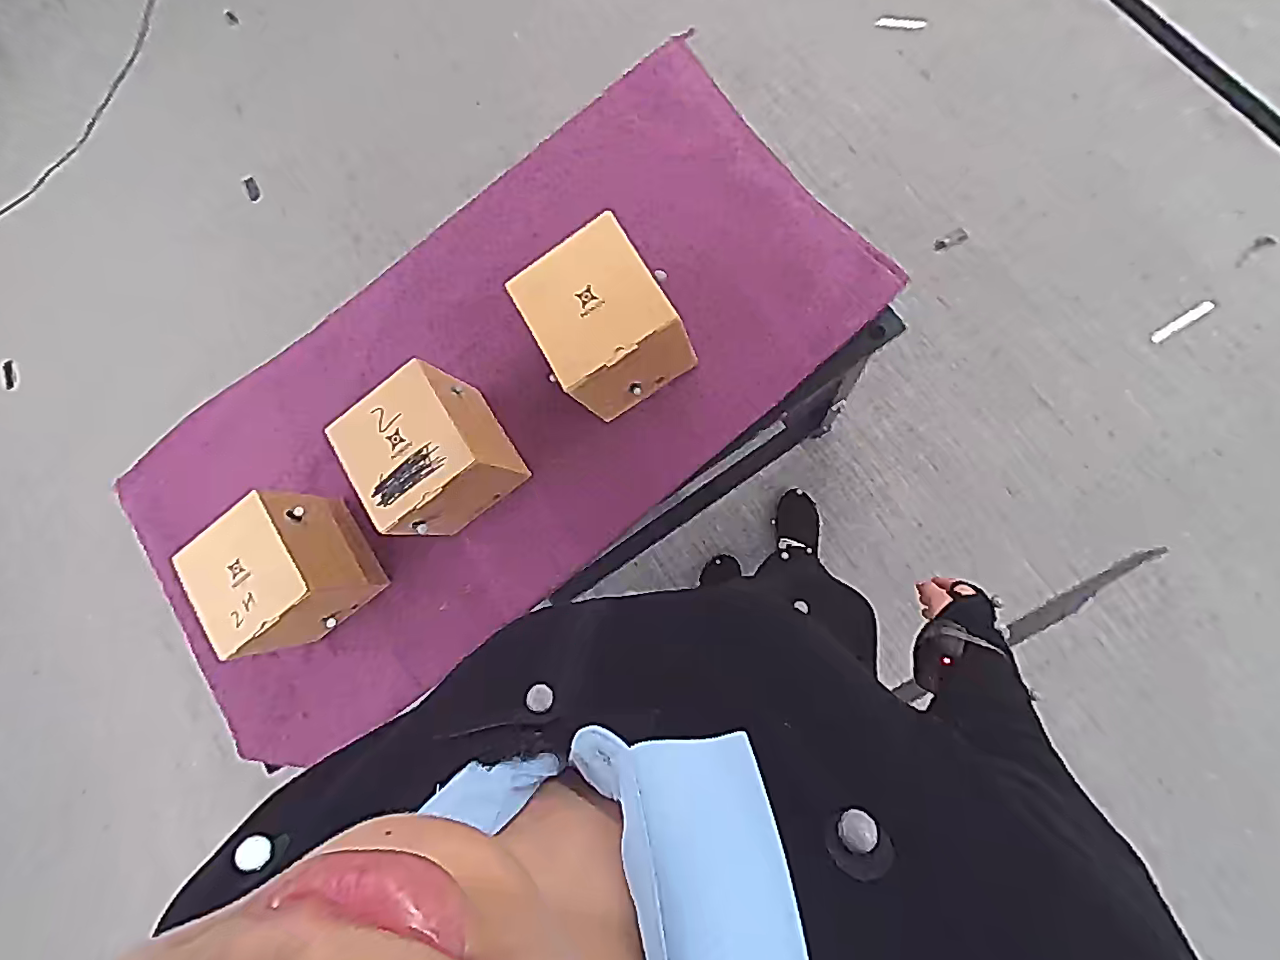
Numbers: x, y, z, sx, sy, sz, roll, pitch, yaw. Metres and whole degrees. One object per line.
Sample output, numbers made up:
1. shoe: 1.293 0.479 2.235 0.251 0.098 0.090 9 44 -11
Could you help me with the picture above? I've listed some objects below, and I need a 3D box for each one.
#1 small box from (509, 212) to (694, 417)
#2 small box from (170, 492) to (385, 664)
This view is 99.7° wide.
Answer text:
1. small box: -0.043 -0.211 0.740 0.168 0.176 0.179 -32 77 8
2. small box: -0.528 0.142 0.807 0.168 0.176 0.179 -38 78 5
